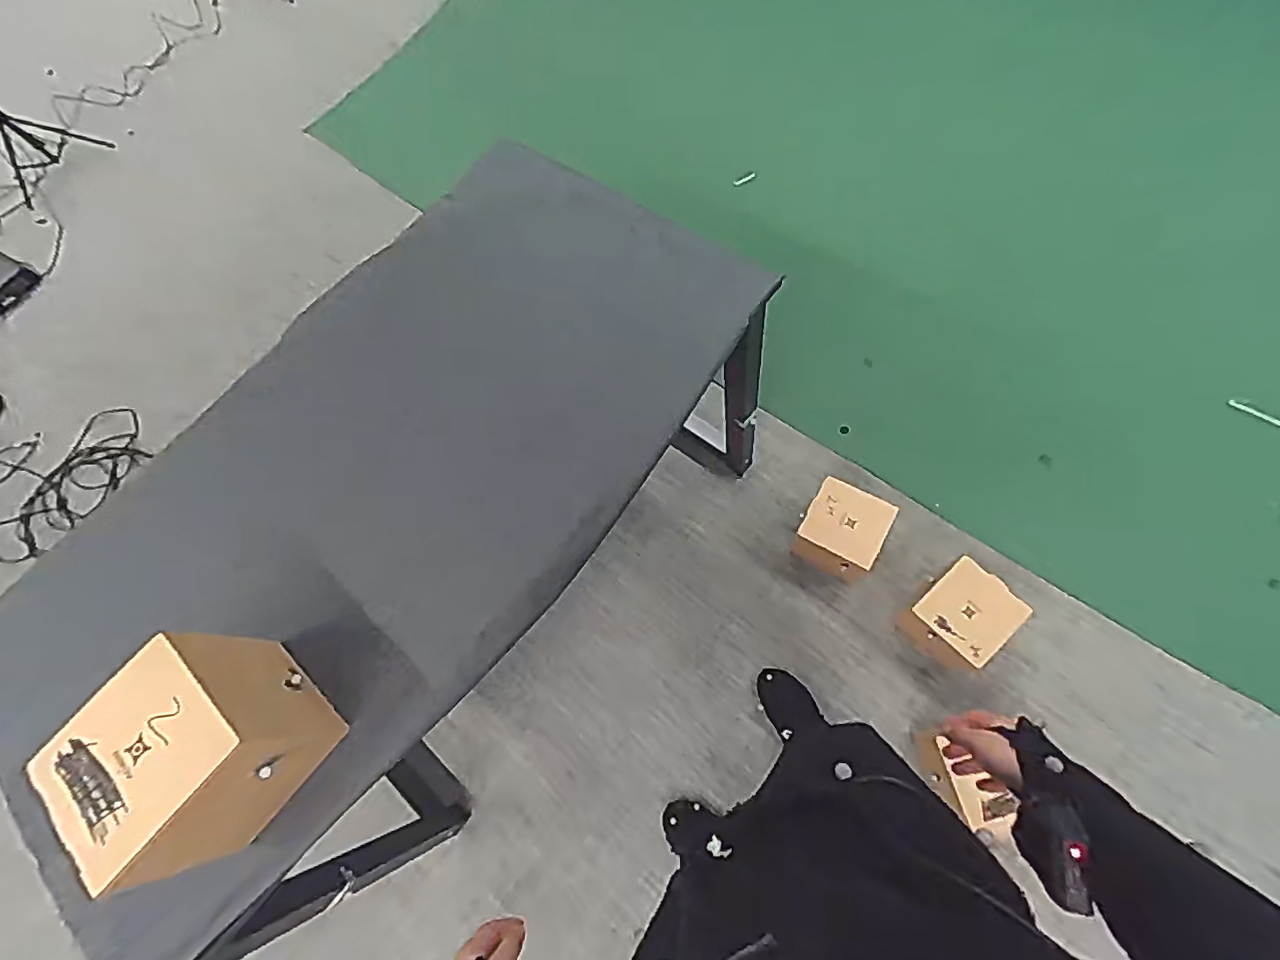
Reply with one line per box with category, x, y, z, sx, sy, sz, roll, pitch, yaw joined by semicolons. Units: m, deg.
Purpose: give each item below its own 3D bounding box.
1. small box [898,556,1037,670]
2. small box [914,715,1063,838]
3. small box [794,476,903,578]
small box;0.706;0.296;1.191;0.179;0.176;0.168;-42;70;-6
small box;0.687;0.587;1.090;0.168;0.176;0.179;-15;68;4
small box;0.489;0.120;1.292;0.179;0.176;0.168;28;77;18
